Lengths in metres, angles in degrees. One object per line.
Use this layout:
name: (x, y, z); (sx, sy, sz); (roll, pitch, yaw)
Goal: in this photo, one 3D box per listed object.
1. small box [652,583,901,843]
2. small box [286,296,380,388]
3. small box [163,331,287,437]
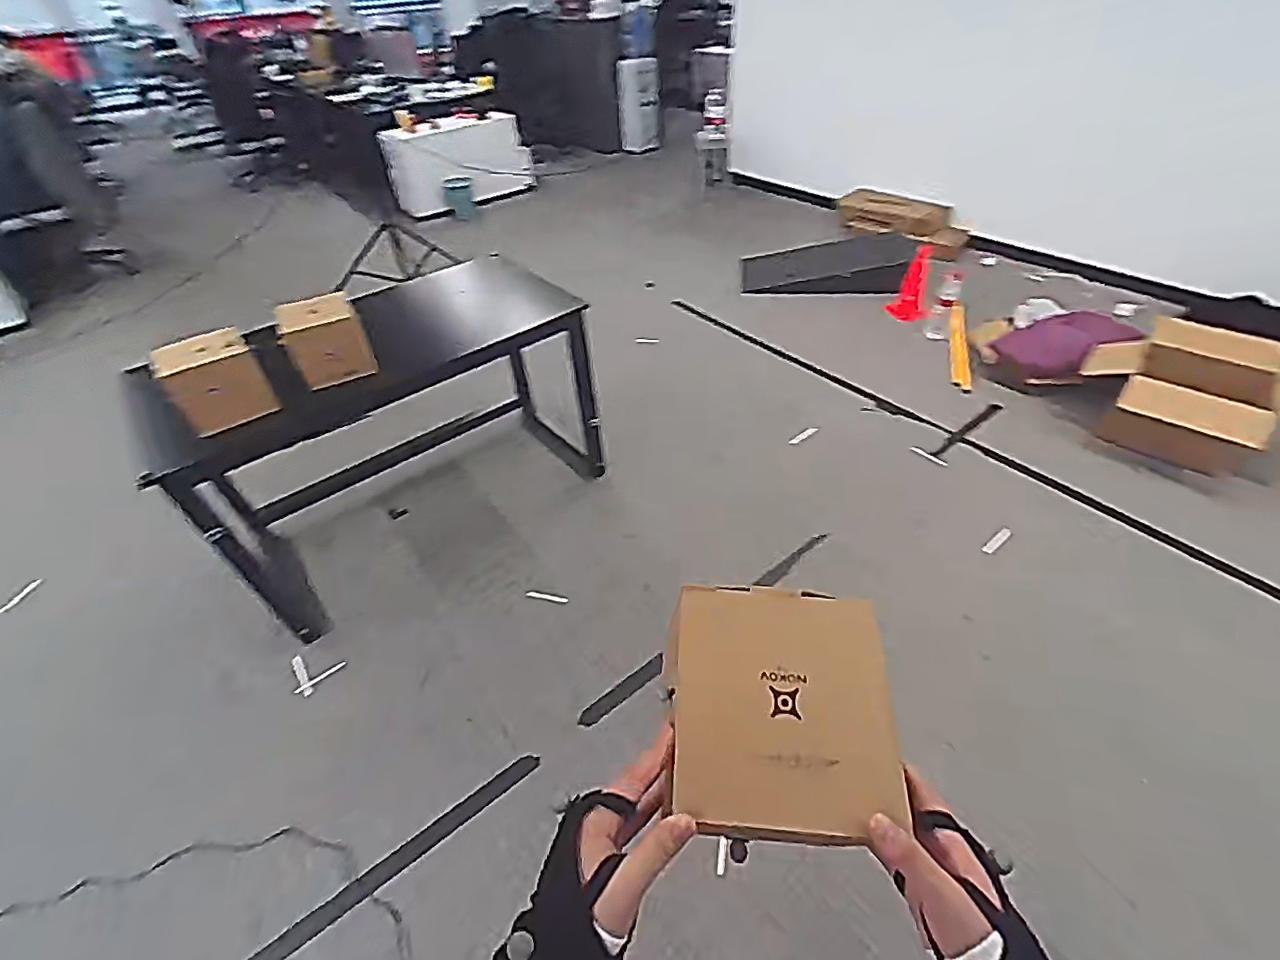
small box: (0.099, 0.212, 0.482); (0.168, 0.176, 0.179); (4, 55, 0)
small box: (-0.818, -0.363, 1.447); (0.168, 0.176, 0.179); (-22, 45, -18)
small box: (-1.013, -0.234, 1.326); (0.179, 0.176, 0.168); (-30, 49, -24)
